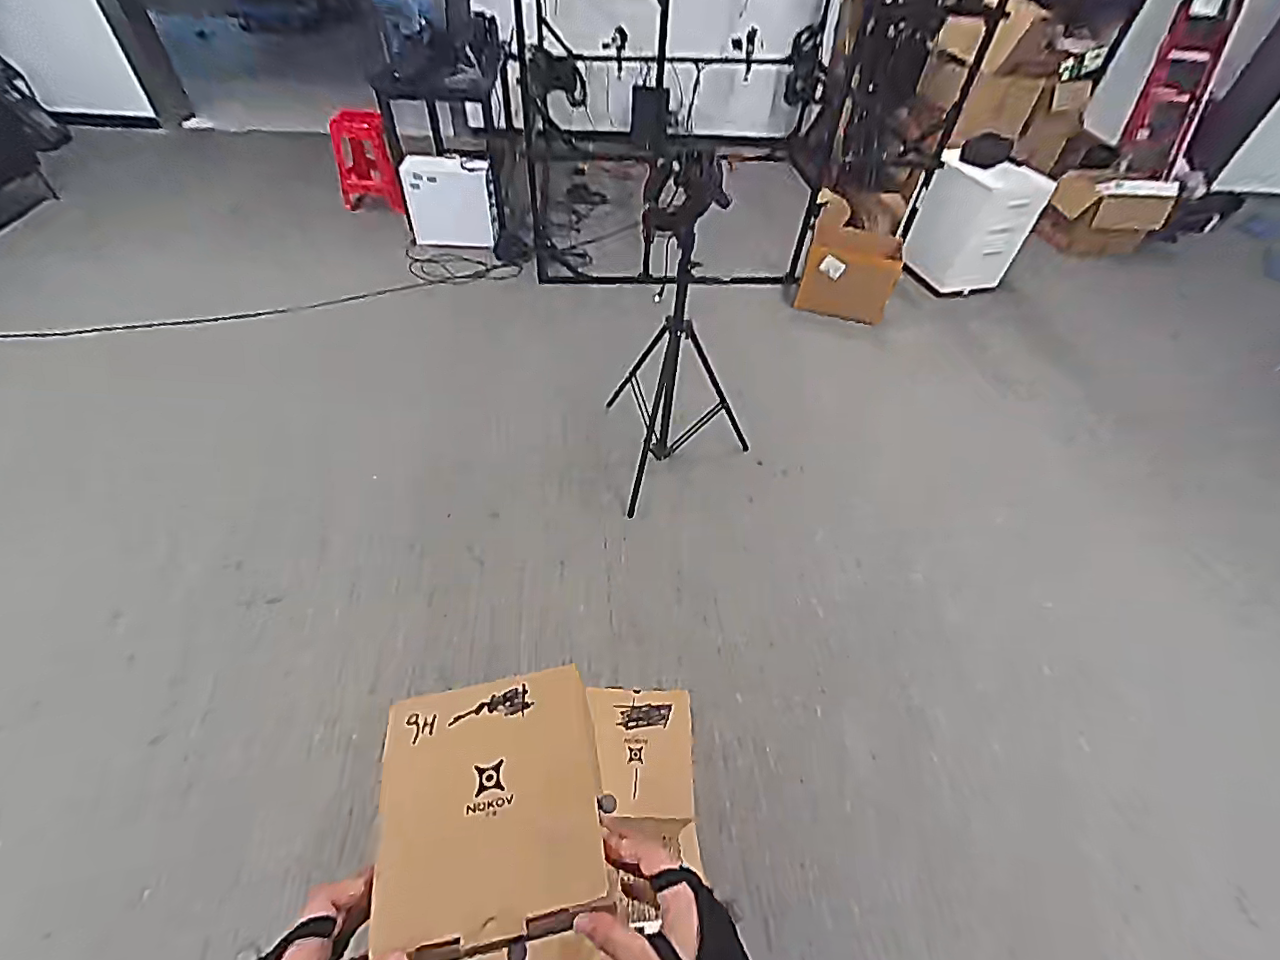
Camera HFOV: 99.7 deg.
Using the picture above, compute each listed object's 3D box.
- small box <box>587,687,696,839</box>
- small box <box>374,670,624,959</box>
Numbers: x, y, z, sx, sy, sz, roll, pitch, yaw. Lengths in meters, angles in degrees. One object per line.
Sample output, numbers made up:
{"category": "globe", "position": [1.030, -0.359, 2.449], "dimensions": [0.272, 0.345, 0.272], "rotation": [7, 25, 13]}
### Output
{"category": "small box", "position": [-0.010, 0.443, 0.843], "dimensions": [0.168, 0.176, 0.179], "rotation": [4, 50, -4]}
{"category": "small box", "position": [-0.111, 0.297, 0.476], "dimensions": [0.168, 0.176, 0.179], "rotation": [-10, 50, -8]}
